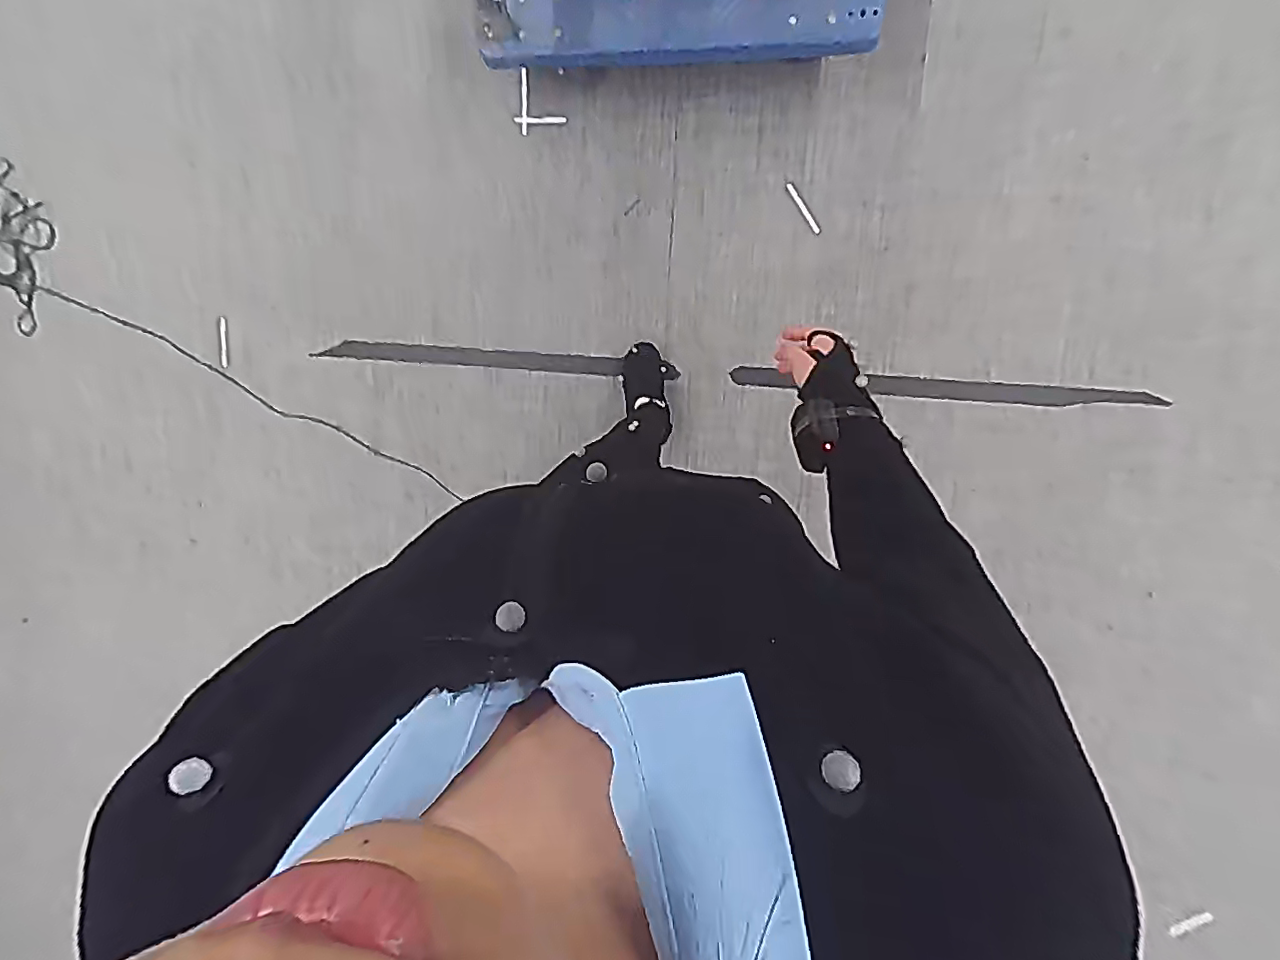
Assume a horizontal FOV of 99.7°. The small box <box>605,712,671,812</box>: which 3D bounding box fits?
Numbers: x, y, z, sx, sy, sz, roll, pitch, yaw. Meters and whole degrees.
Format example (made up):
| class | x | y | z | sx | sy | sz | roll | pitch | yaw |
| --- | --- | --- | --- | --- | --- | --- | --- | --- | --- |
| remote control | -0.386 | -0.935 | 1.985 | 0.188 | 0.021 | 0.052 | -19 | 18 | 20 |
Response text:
| class | x | y | z | sx | sy | sz | roll | pitch | yaw |
| --- | --- | --- | --- | --- | --- | --- | --- | --- | --- |
| small box | 0.000 | 0.775 | 1.498 | 0.168 | 0.176 | 0.179 | 2 | 97 | 6 |
